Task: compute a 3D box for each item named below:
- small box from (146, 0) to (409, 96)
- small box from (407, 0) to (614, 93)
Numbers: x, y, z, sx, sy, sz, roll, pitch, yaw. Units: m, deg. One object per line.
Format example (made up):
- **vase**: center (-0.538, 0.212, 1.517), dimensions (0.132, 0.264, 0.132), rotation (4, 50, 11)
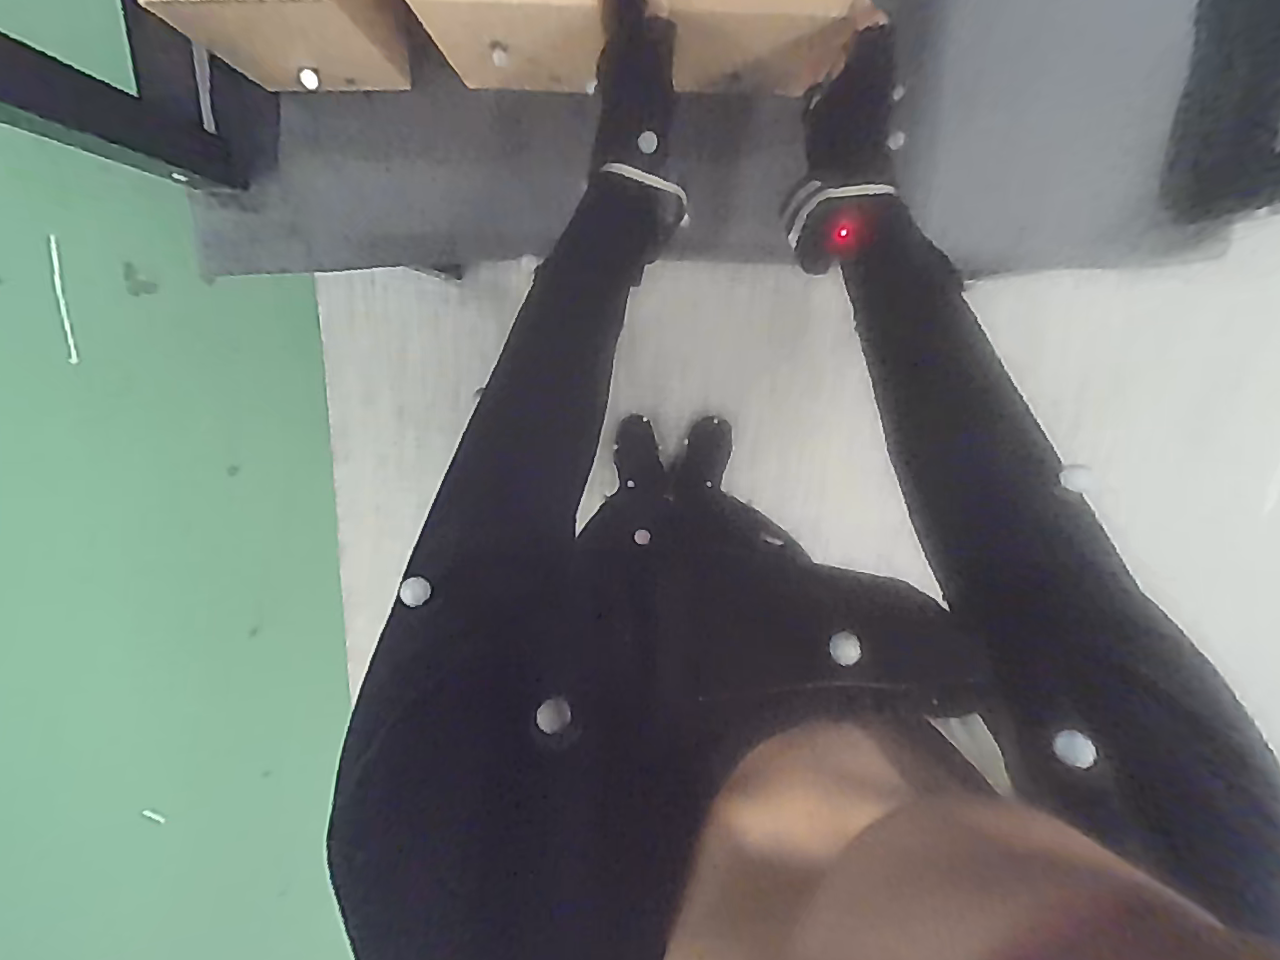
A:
- **small box**: center (-0.338, -0.500, 0.509), dimensions (0.168, 0.176, 0.179), rotation (0, 103, 1)
- **small box**: center (-0.110, -0.498, 0.509), dimensions (0.168, 0.176, 0.179), rotation (2, 103, 0)
